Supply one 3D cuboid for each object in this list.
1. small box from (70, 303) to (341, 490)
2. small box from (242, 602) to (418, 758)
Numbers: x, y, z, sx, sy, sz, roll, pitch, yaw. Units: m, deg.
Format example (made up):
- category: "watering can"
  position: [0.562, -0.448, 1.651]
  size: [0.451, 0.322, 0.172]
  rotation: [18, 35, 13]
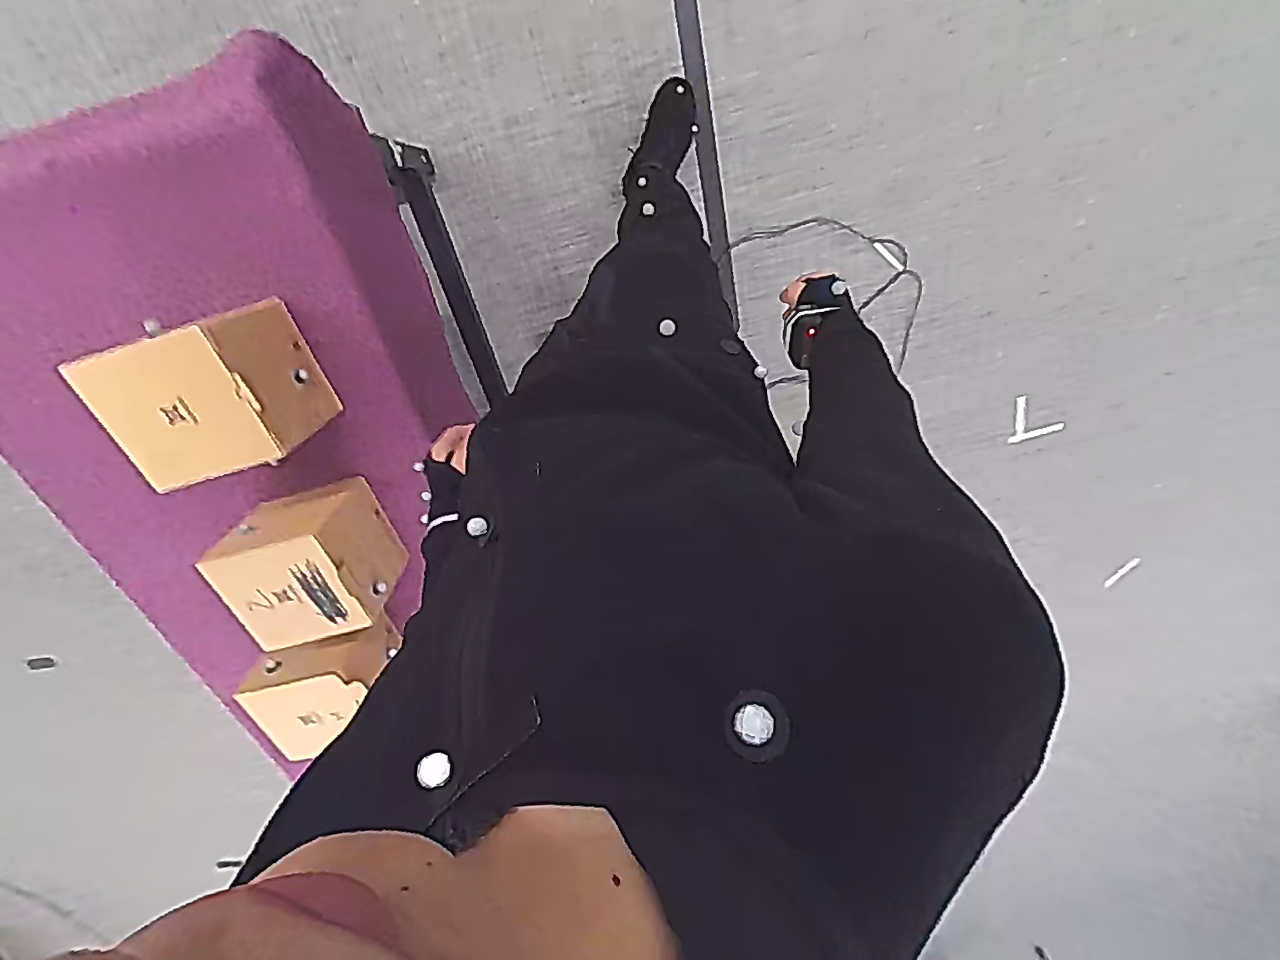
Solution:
- category: "small box"
  position: [-0.534, -0.114, 0.699]
  size: [0.179, 0.176, 0.168]
  rotation: [-16, 117, 4]
- category: "small box"
  position: [-0.517, 0.338, 0.932]
  size: [0.179, 0.176, 0.168]
  rotation: [-14, 118, 3]
